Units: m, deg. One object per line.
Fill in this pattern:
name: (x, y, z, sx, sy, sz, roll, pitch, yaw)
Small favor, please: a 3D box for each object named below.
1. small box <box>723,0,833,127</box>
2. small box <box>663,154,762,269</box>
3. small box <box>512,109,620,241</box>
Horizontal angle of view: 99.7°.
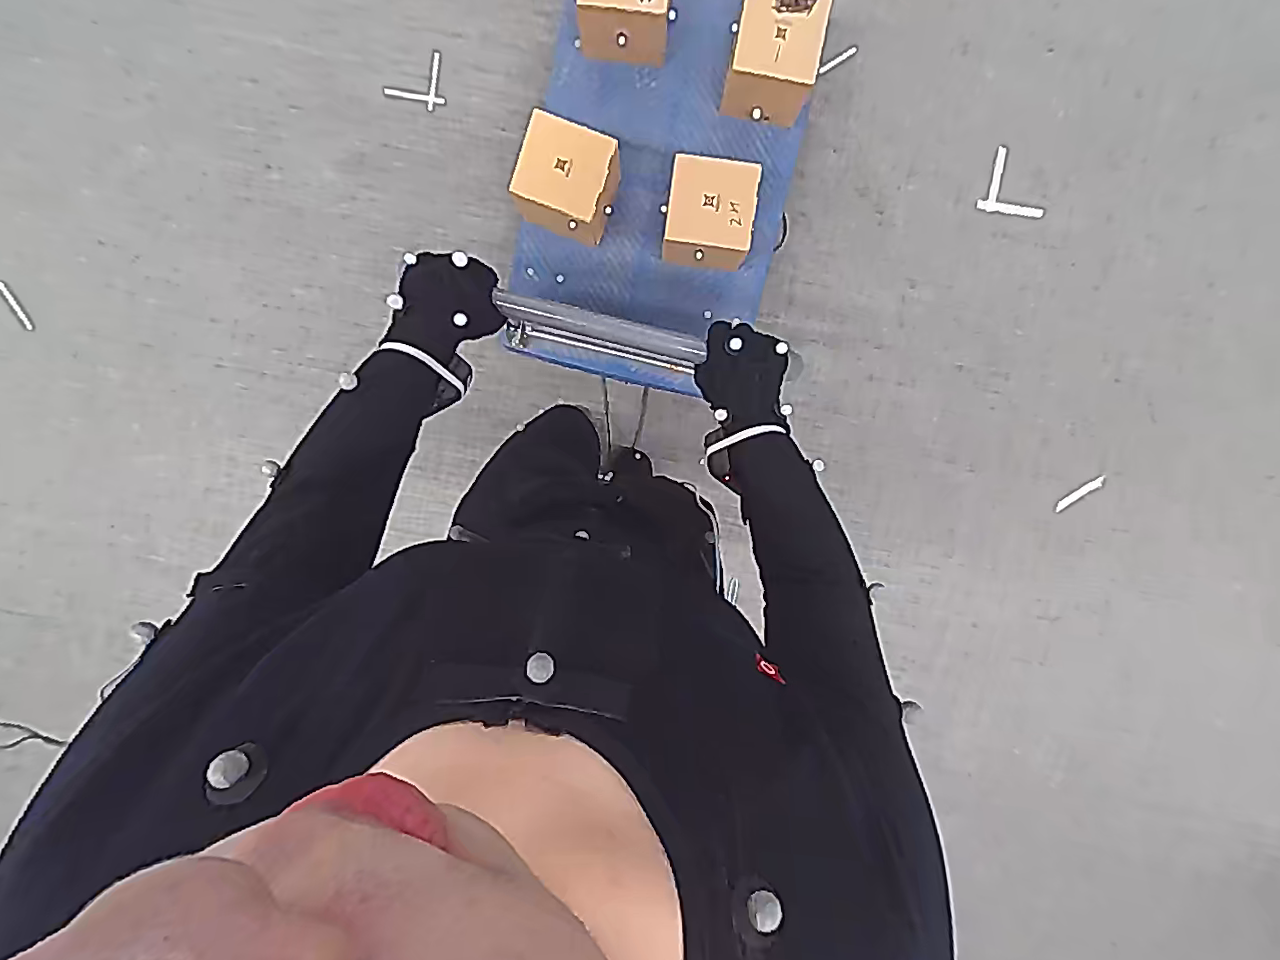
small box: (0.276, -0.878, 1.120, 0.168, 0.176, 0.179, 11, 98, -1)
small box: (0.147, -0.566, 1.160, 0.179, 0.176, 0.168, 8, 97, -1)
small box: (-0.150, -0.635, 1.152, 0.179, 0.176, 0.168, 19, 96, -4)
